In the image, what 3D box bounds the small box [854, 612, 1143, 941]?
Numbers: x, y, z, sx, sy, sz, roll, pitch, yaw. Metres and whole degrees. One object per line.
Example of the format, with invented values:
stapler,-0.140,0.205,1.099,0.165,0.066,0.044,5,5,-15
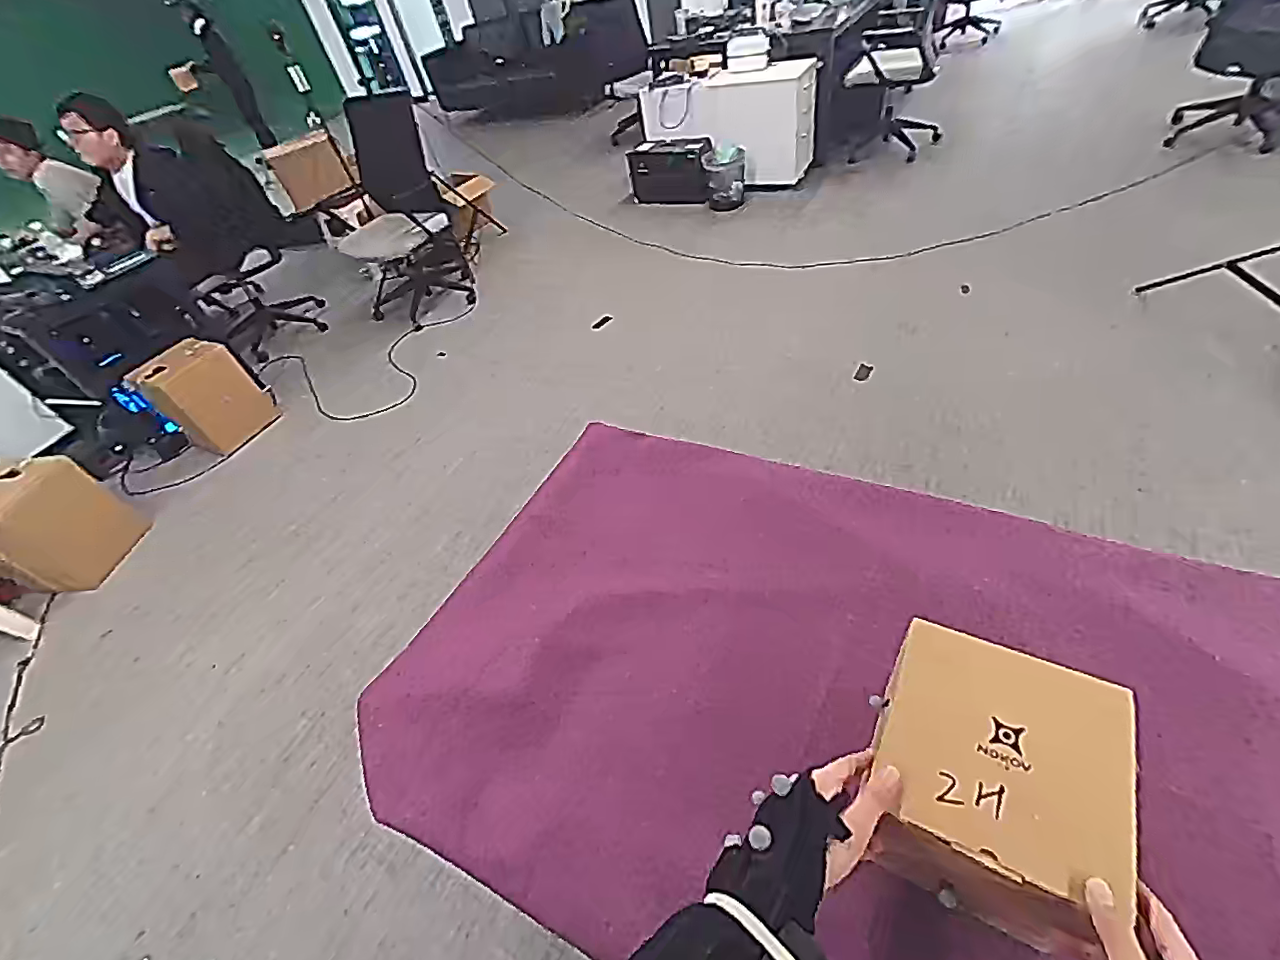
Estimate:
small box,0.297,0.255,0.475,0.168,0.176,0.179,17,53,27
